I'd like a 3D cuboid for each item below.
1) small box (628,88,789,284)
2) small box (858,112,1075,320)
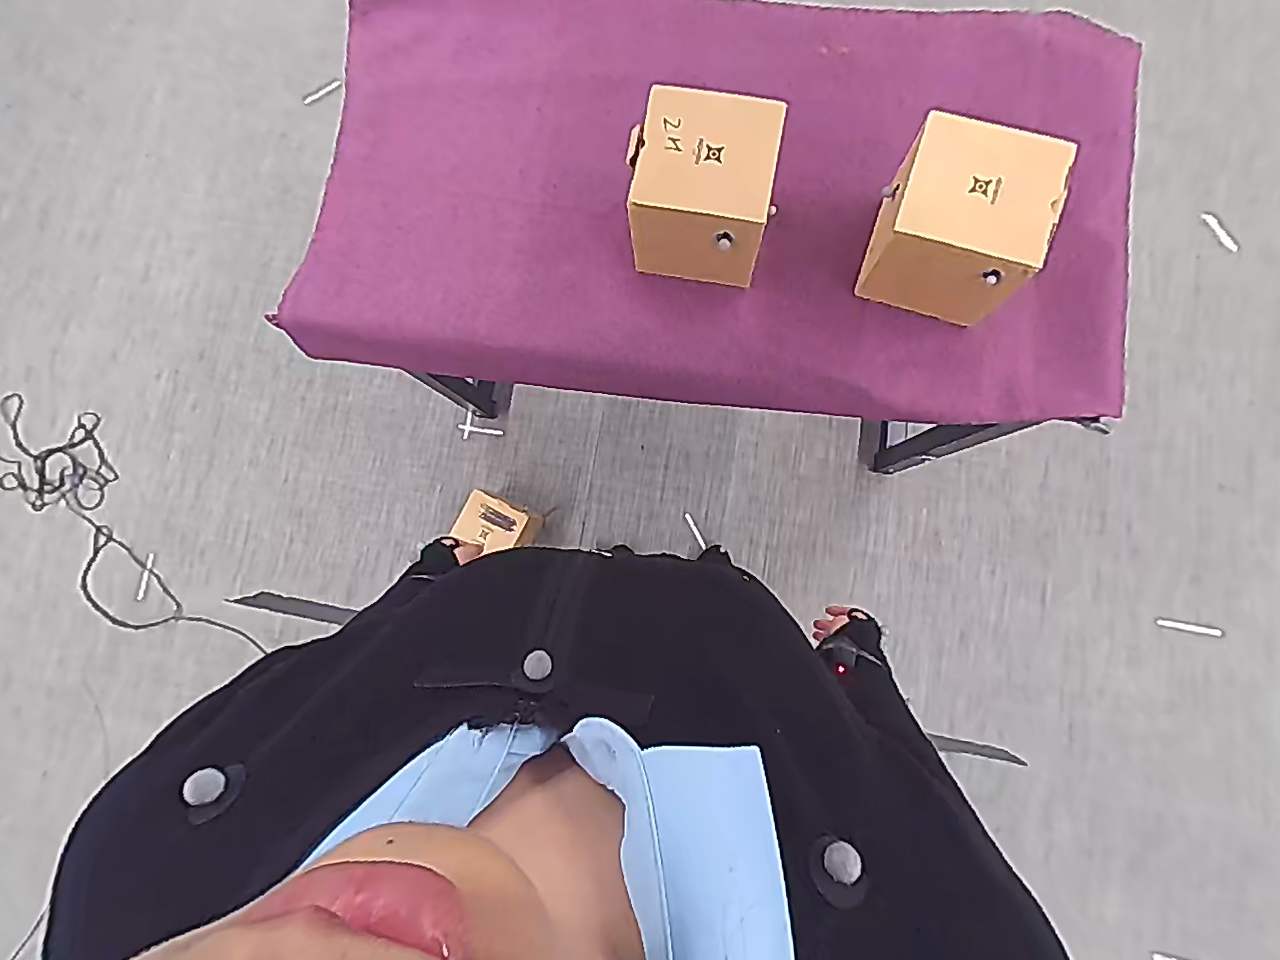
[{"bbox_3d":[0.091,-0.393,0.751,0.179,0.176,0.168,11,83,5],"label":"small box"},{"bbox_3d":[0.415,-0.336,0.720,0.179,0.176,0.168,18,85,6],"label":"small box"}]
